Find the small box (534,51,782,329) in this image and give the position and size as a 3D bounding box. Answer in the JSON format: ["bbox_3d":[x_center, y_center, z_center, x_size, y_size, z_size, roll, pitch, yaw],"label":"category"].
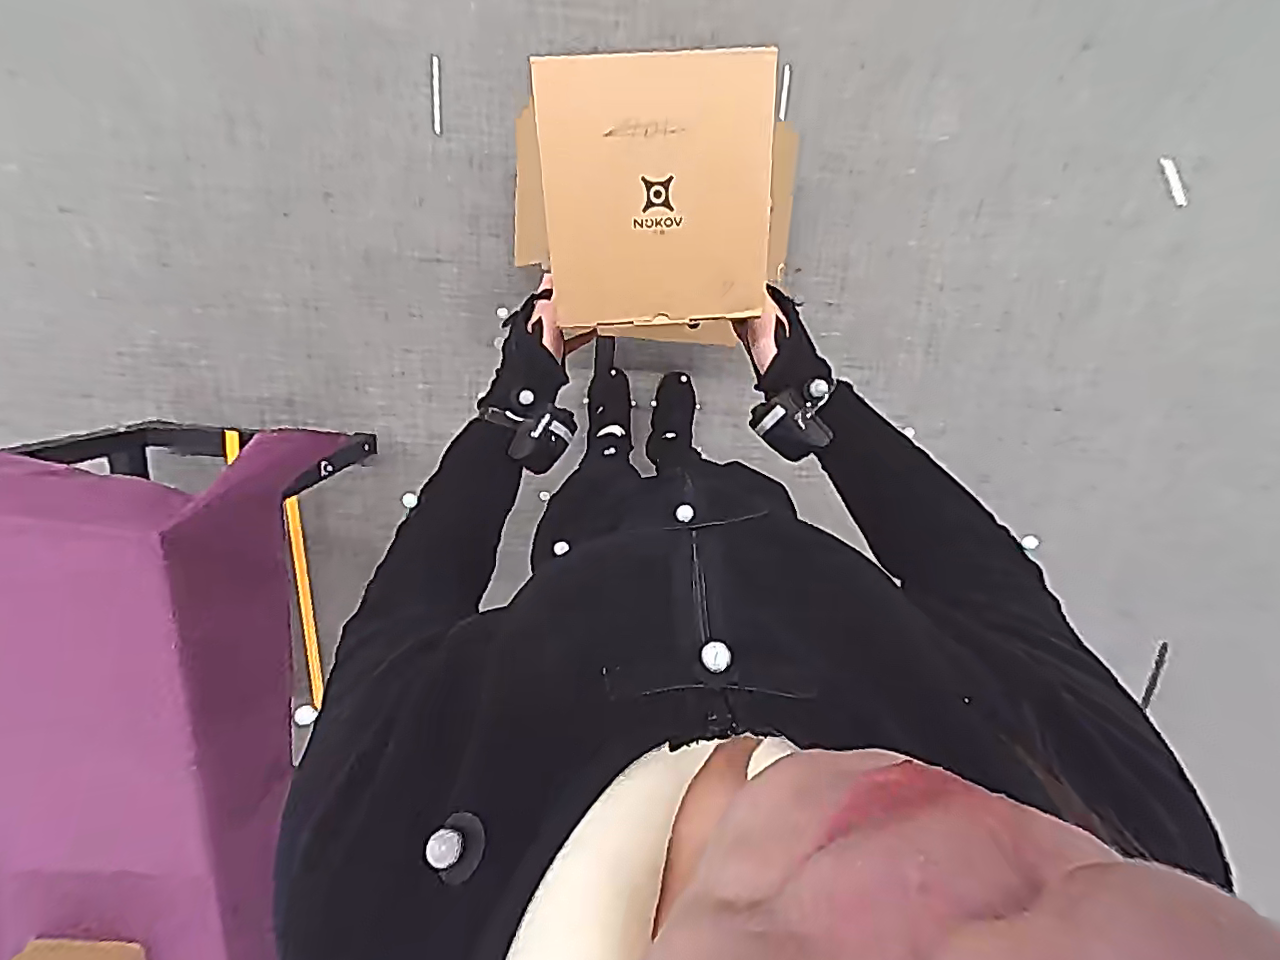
[{"bbox_3d":[0.010,-0.232,0.459,0.168,0.176,0.179,-3,114,-2],"label":"small box"}]

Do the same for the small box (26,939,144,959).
[{"bbox_3d":[-0.938,0.880,0.861,0.179,0.176,0.168,6,105,-3],"label":"small box"}]
